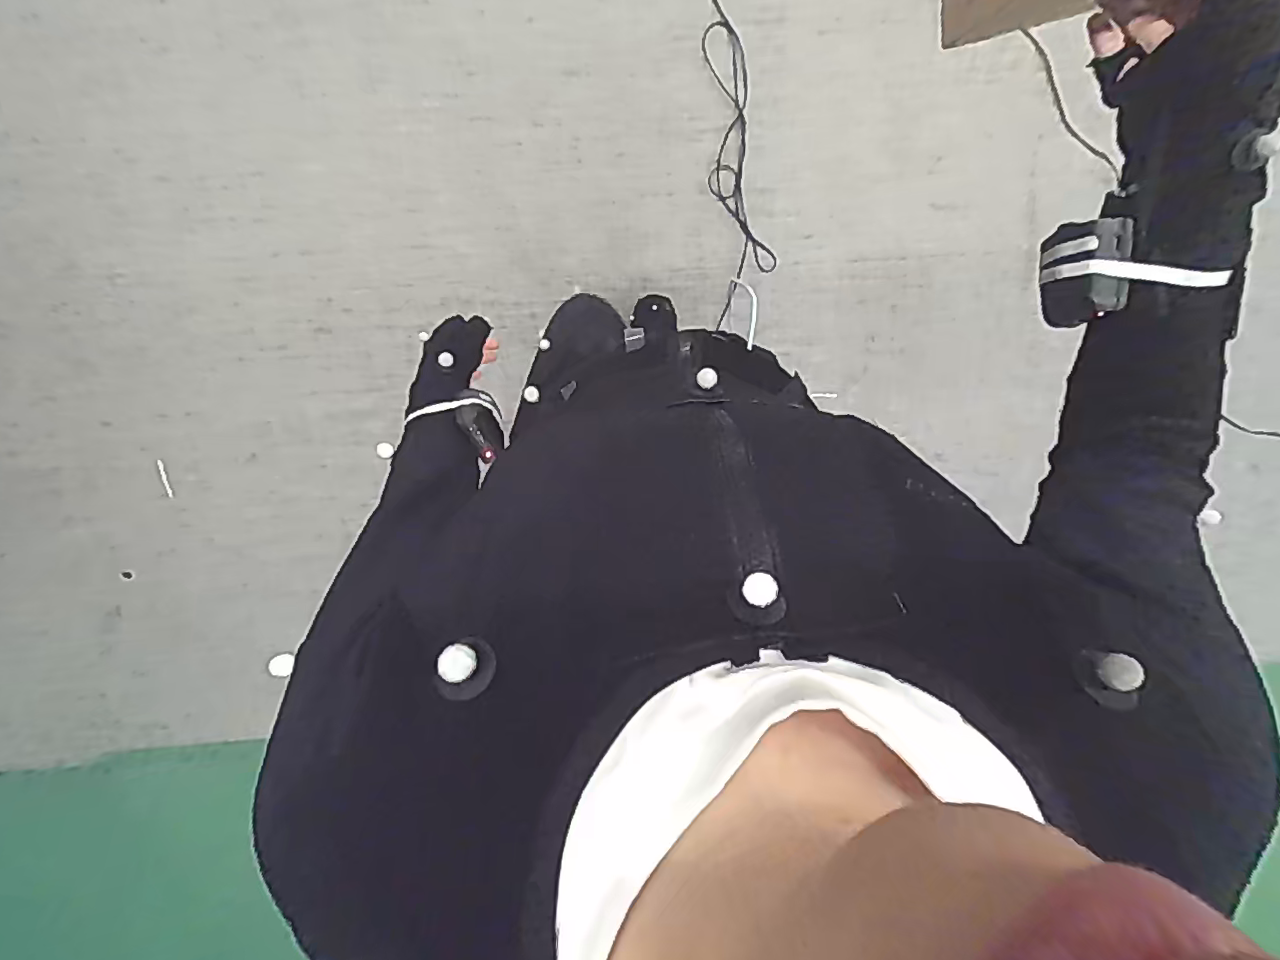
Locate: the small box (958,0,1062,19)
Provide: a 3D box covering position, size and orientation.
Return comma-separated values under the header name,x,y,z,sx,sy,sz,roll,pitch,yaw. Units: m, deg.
name,x,y,z,sx,sy,sz,roll,pitch,yaw
small box,0.309,-0.419,0.324,0.168,0.176,0.179,-11,112,5
